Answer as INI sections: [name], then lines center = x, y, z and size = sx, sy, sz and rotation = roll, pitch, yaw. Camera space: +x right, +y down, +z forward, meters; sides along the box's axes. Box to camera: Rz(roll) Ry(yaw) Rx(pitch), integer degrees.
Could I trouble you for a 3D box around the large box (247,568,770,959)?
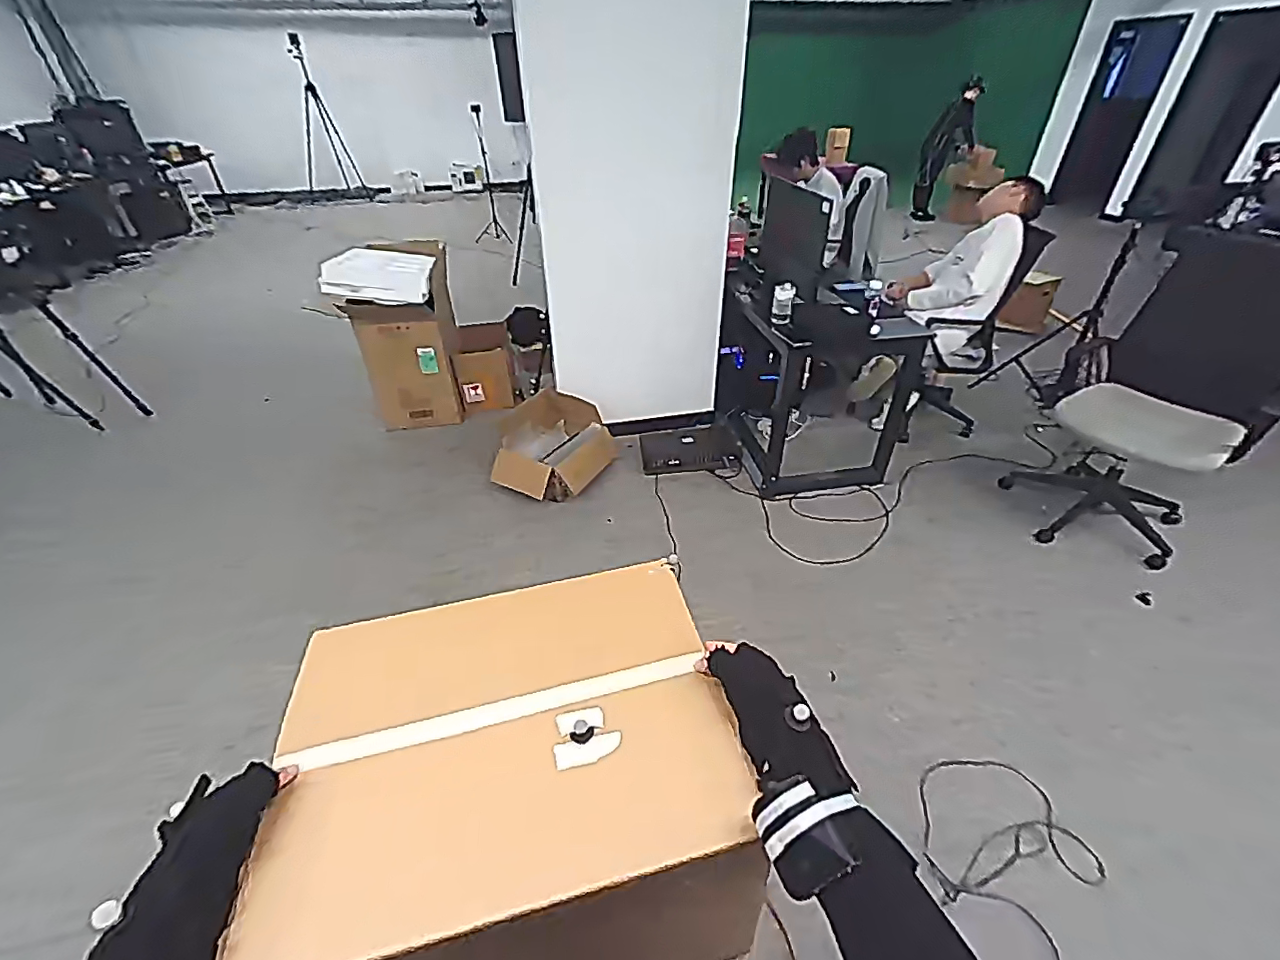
[large box]
center = -0.114, 0.350, 0.607
size = 0.408, 0.320, 0.320
rotation = -10, 36, -10
